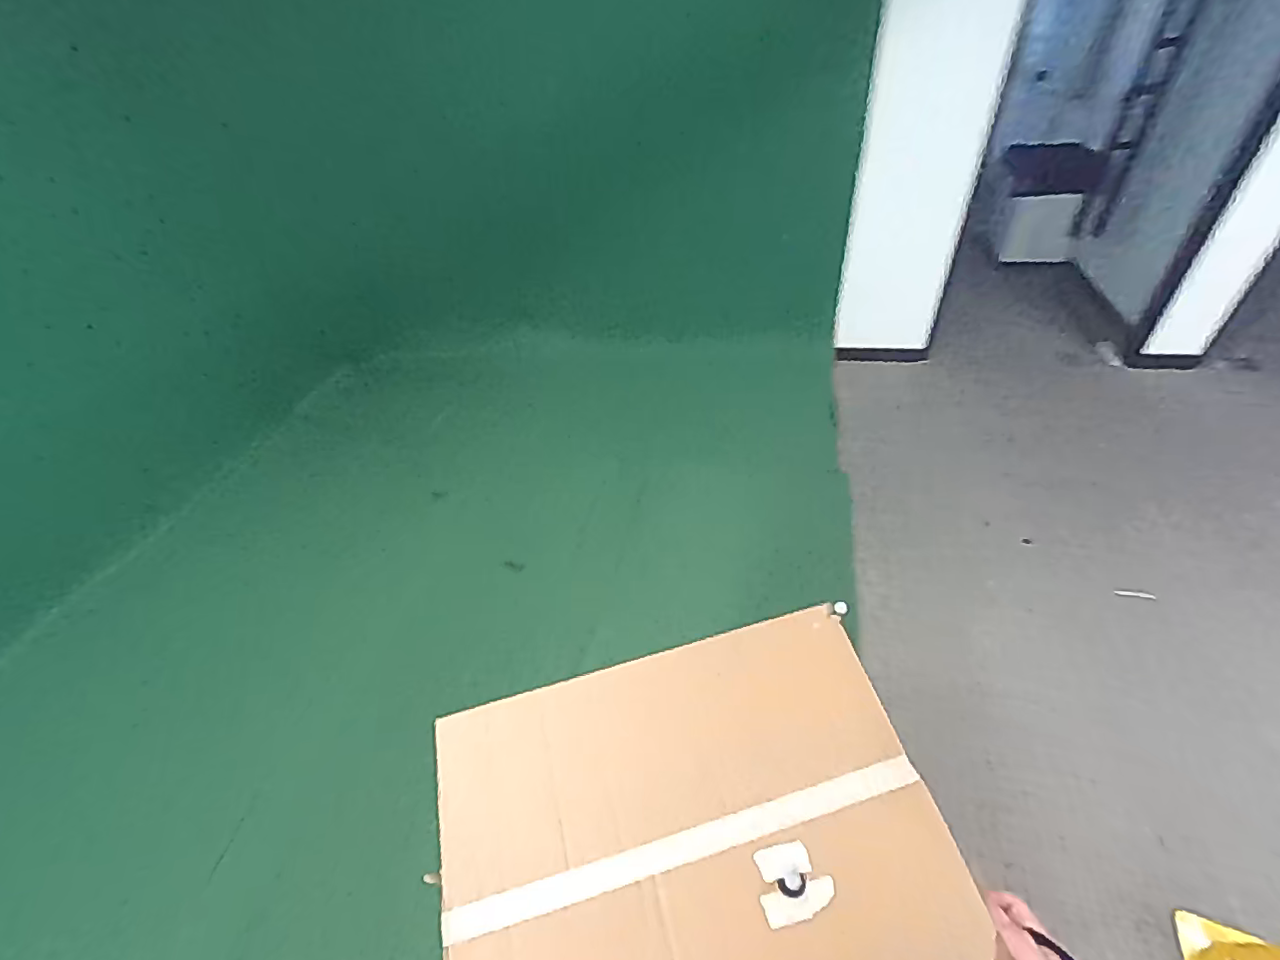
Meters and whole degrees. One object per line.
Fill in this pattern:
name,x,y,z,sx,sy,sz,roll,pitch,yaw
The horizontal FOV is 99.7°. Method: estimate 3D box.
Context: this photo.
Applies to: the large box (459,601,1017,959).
large box,0.062,0.380,0.584,0.408,0.320,0.320,-14,58,-6
